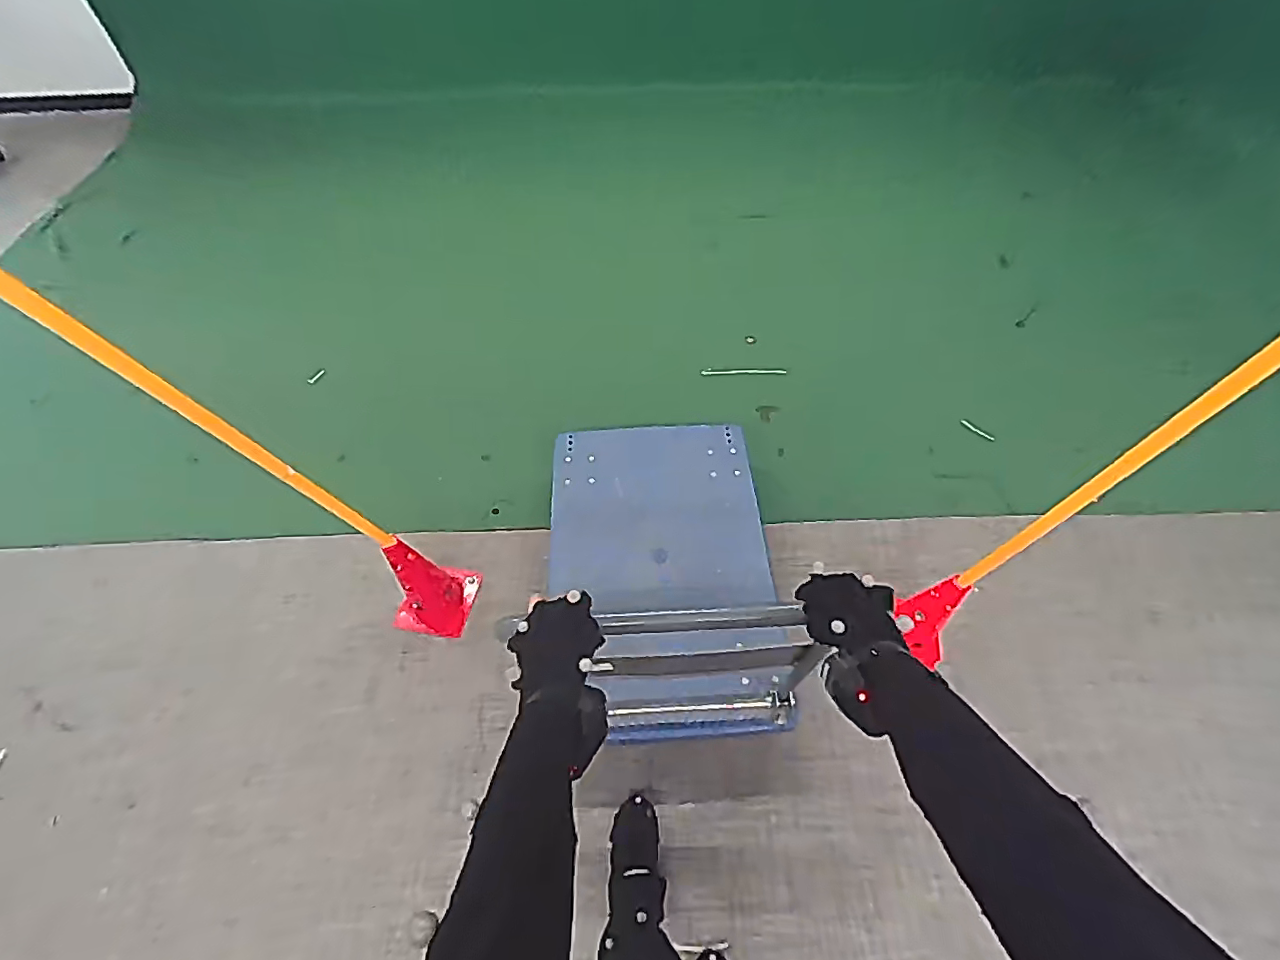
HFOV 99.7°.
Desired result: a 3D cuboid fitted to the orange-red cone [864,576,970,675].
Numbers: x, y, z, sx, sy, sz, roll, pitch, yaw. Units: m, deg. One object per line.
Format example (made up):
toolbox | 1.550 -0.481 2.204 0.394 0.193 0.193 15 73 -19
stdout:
orange-red cone | 0.706 0.323 1.321 0.198 0.360 0.199 7 58 7
